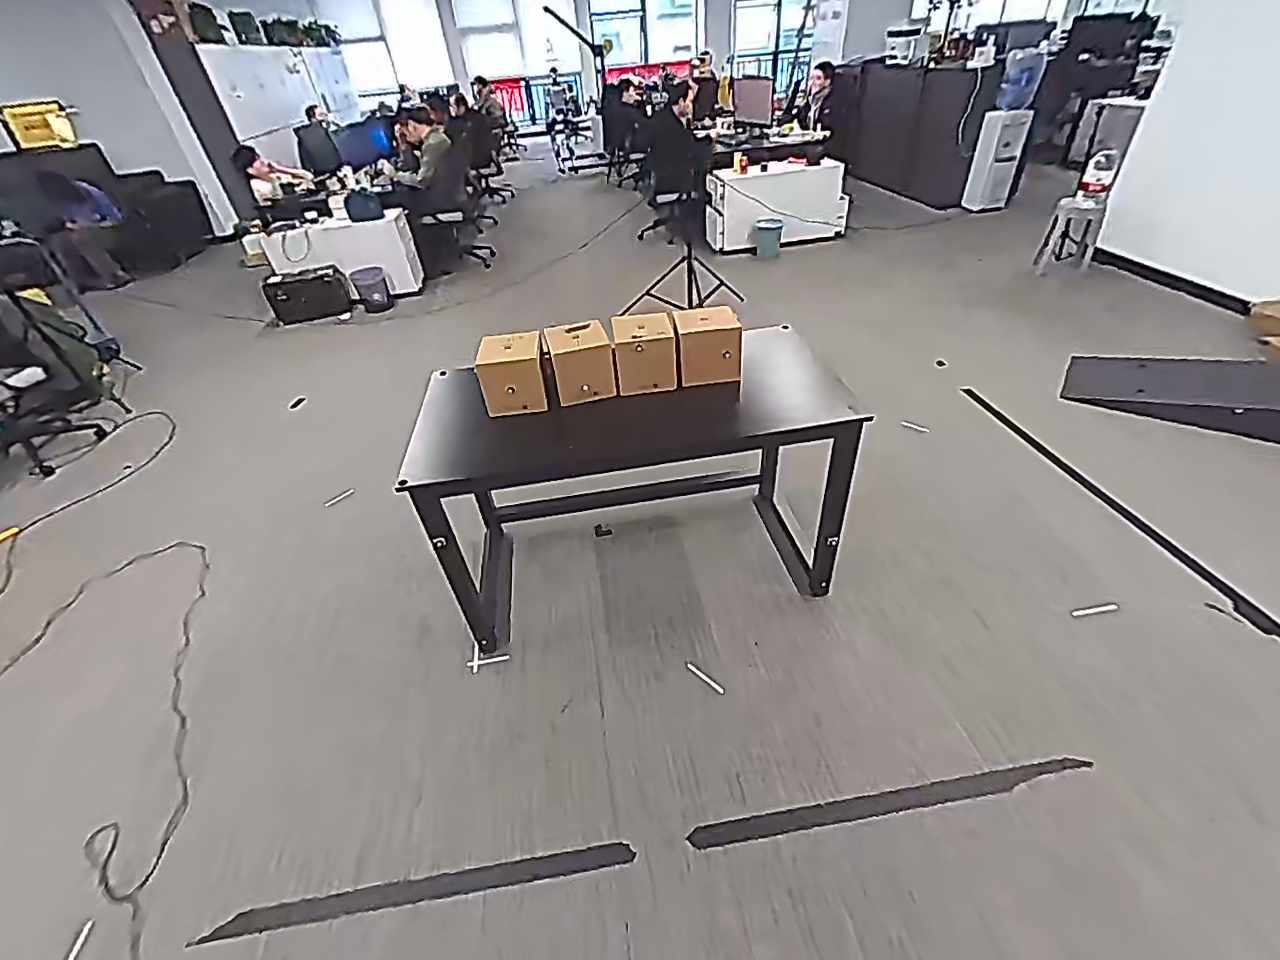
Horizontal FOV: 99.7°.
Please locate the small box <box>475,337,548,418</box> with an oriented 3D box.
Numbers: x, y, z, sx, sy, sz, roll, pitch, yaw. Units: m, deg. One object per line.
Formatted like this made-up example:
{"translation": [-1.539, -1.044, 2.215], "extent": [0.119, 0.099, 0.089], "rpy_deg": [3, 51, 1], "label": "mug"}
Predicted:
{"translation": [-0.360, -0.288, 1.551], "extent": [0.168, 0.176, 0.179], "rpy_deg": [-7, 38, -2], "label": "small box"}
